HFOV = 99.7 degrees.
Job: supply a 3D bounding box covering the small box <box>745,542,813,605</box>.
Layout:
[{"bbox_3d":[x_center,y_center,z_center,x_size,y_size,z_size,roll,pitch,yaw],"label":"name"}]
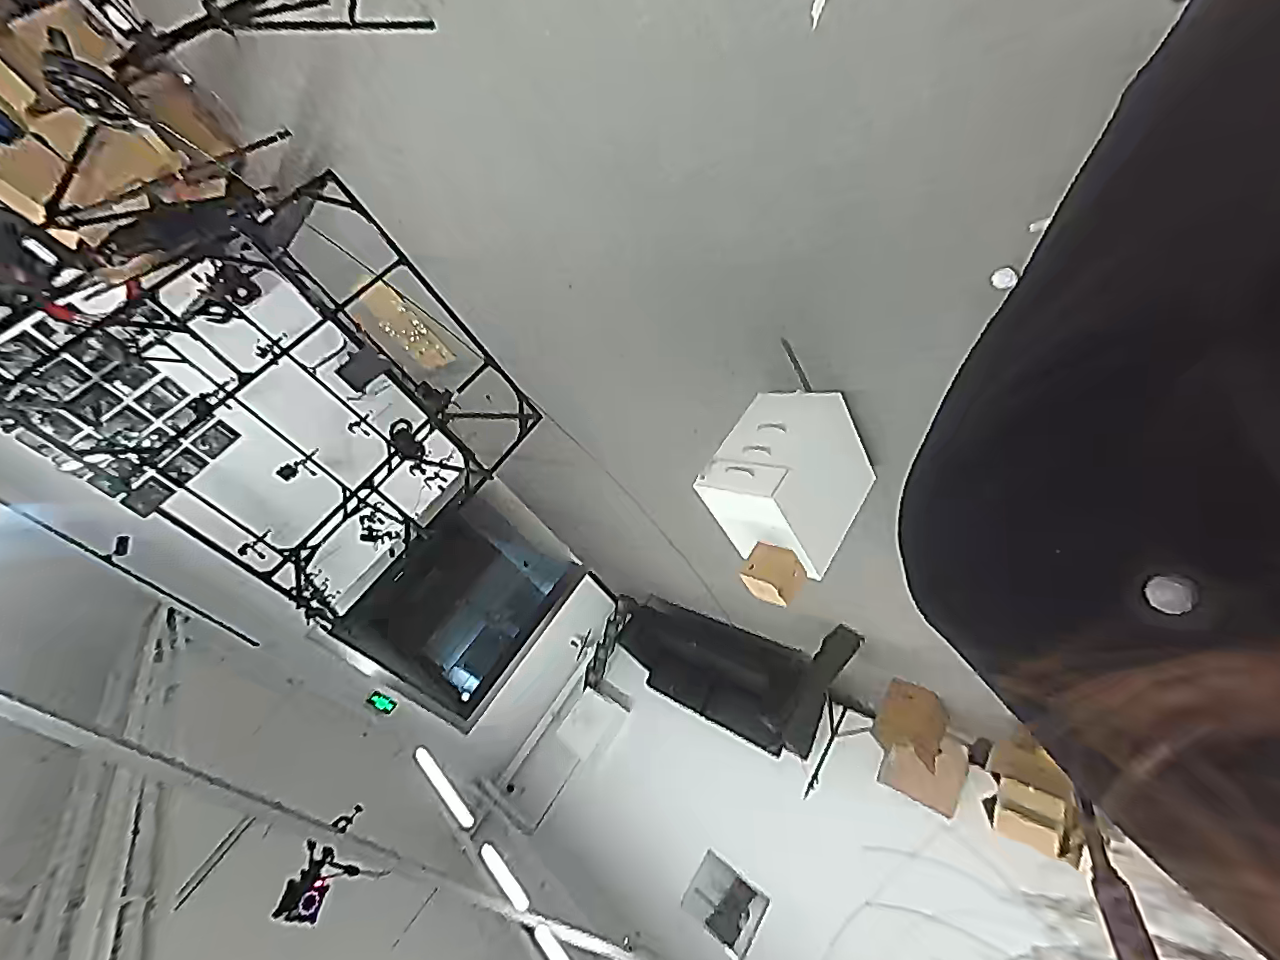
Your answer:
[{"bbox_3d":[0.566,0.372,2.185,0.179,0.176,0.168,10,146,51],"label":"small box"}]
